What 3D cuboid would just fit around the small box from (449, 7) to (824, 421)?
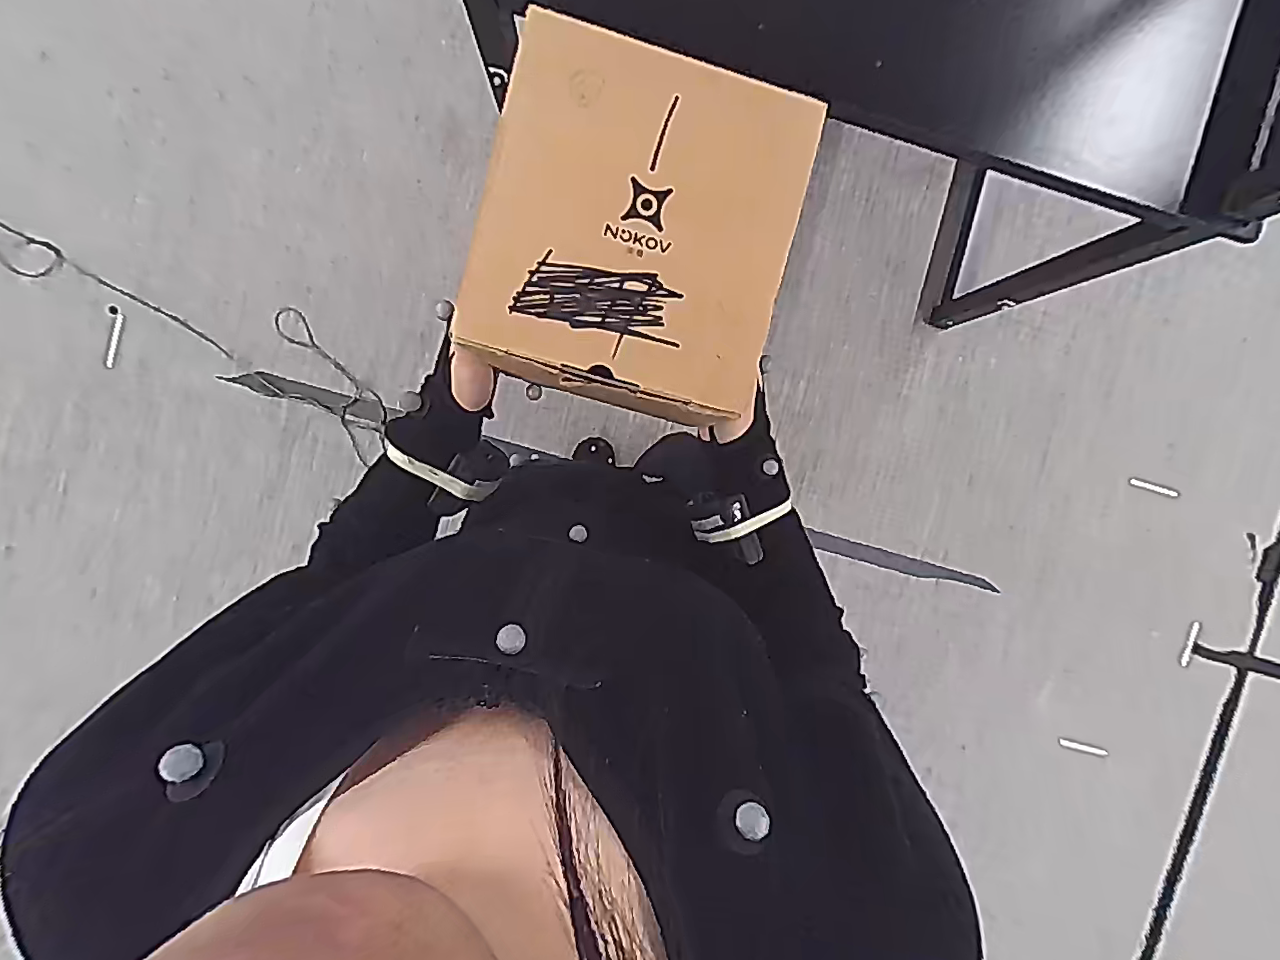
[{"bbox_3d":[-0.006,-0.143,0.365,0.168,0.176,0.179,15,92,-5],"label":"small box"}]
